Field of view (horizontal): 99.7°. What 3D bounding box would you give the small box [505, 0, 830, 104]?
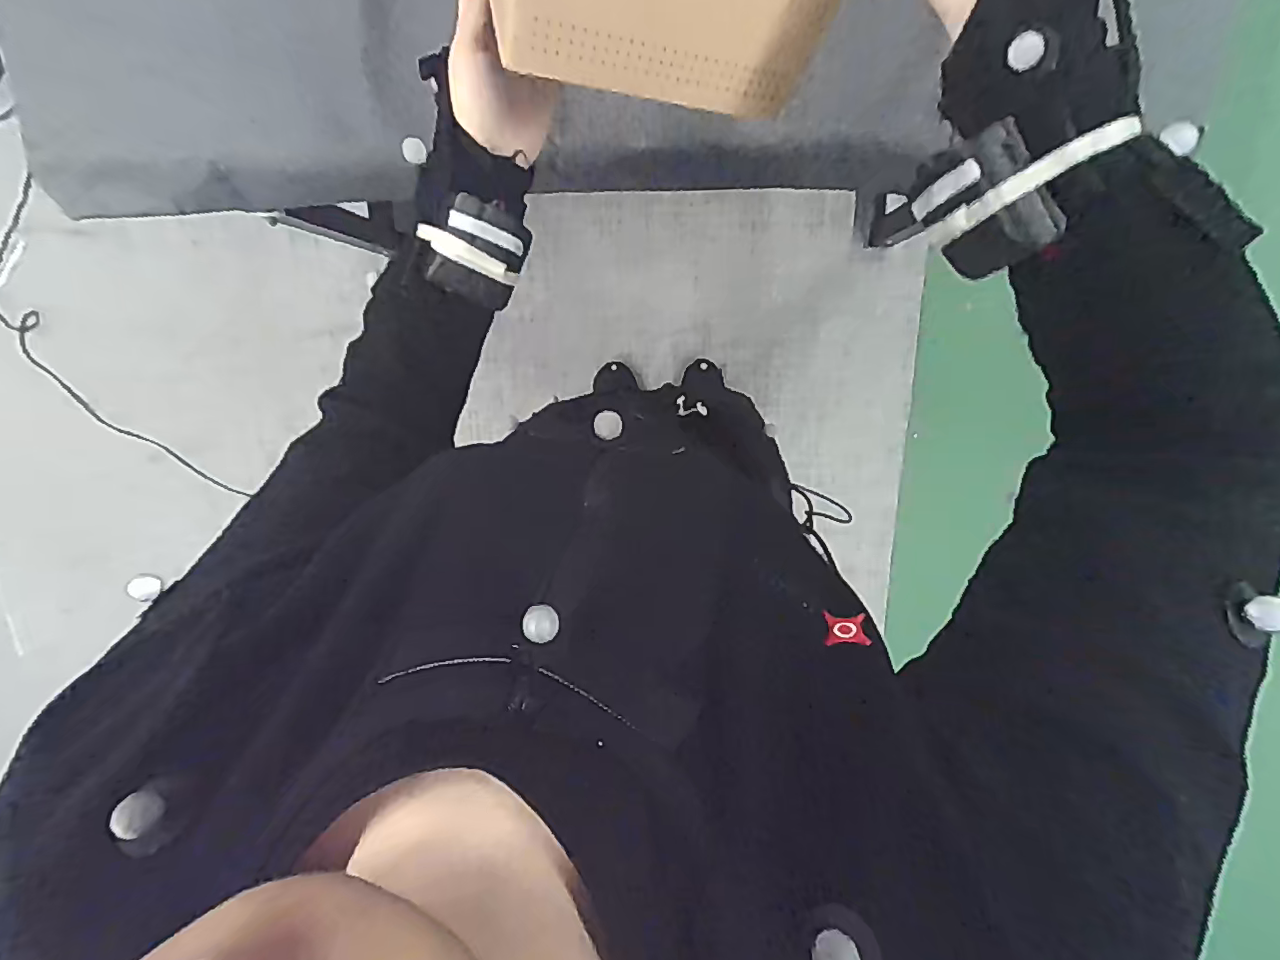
[{"bbox_3d":[0.018,-0.333,0.277,0.179,0.176,0.168,-4,65,-21],"label":"small box"}]
